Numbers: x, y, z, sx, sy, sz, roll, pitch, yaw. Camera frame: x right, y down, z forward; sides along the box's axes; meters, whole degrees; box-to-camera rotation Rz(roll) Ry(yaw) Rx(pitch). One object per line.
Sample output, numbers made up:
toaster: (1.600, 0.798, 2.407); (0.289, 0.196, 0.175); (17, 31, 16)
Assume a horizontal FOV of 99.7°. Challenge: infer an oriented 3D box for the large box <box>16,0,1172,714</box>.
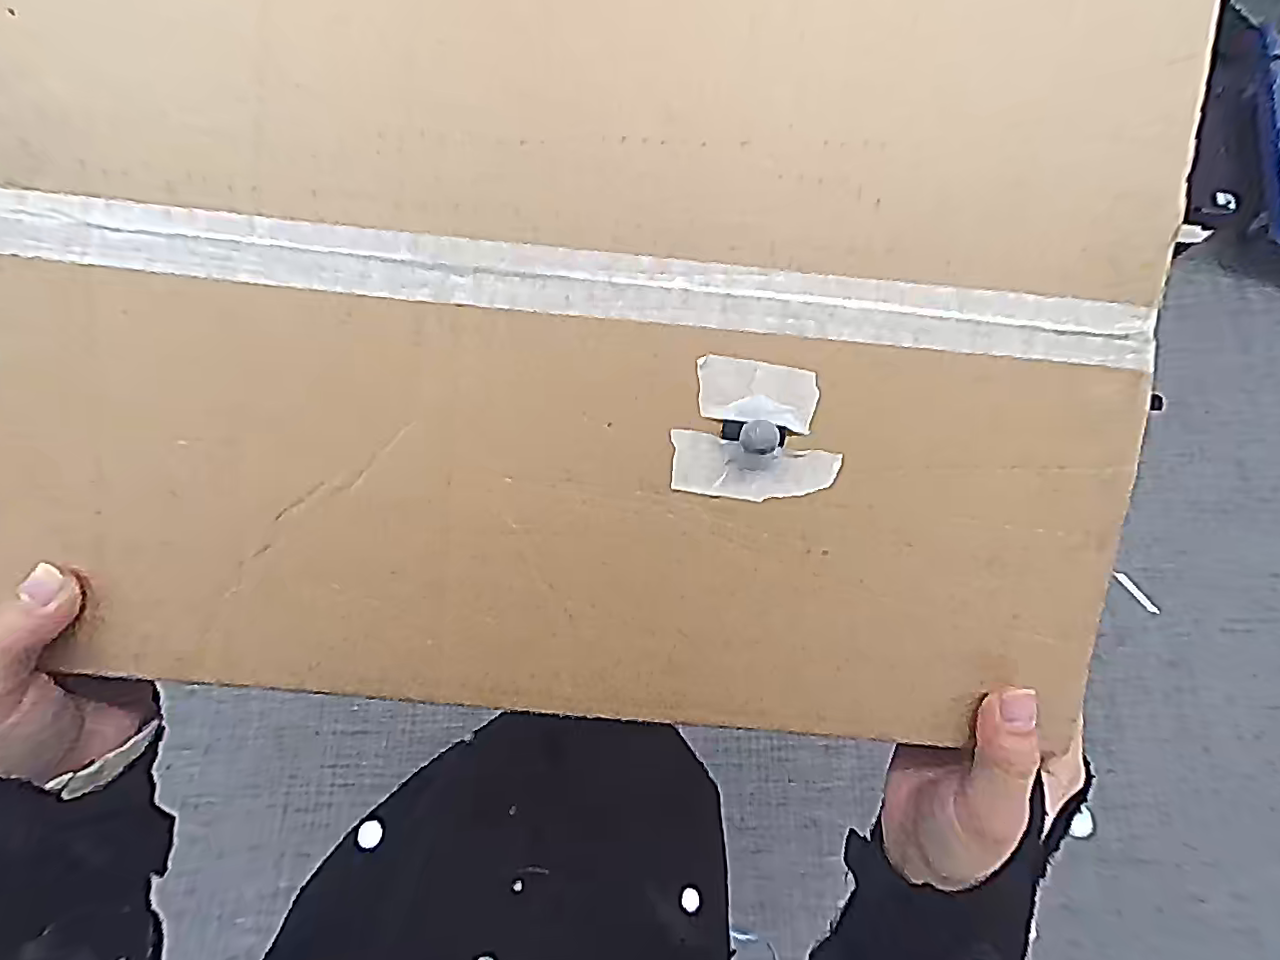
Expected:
large box: (-0.024, -0.085, 0.346); (0.408, 0.320, 0.320); (5, 97, -2)
